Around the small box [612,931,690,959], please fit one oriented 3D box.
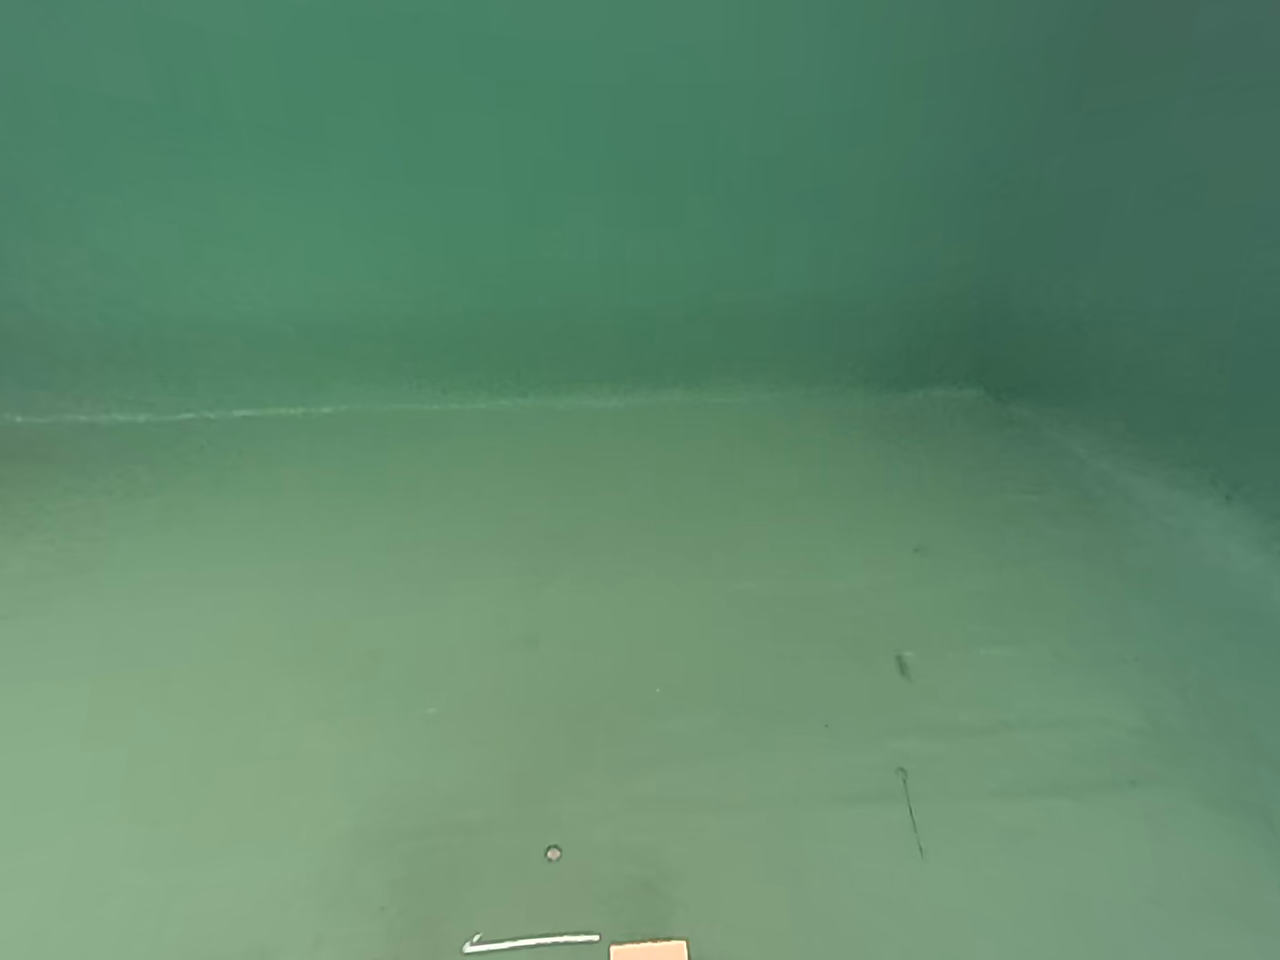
[{"bbox_3d":[0.023,1.092,1.147,0.168,0.176,0.179,-1,41,-3],"label":"small box"}]
